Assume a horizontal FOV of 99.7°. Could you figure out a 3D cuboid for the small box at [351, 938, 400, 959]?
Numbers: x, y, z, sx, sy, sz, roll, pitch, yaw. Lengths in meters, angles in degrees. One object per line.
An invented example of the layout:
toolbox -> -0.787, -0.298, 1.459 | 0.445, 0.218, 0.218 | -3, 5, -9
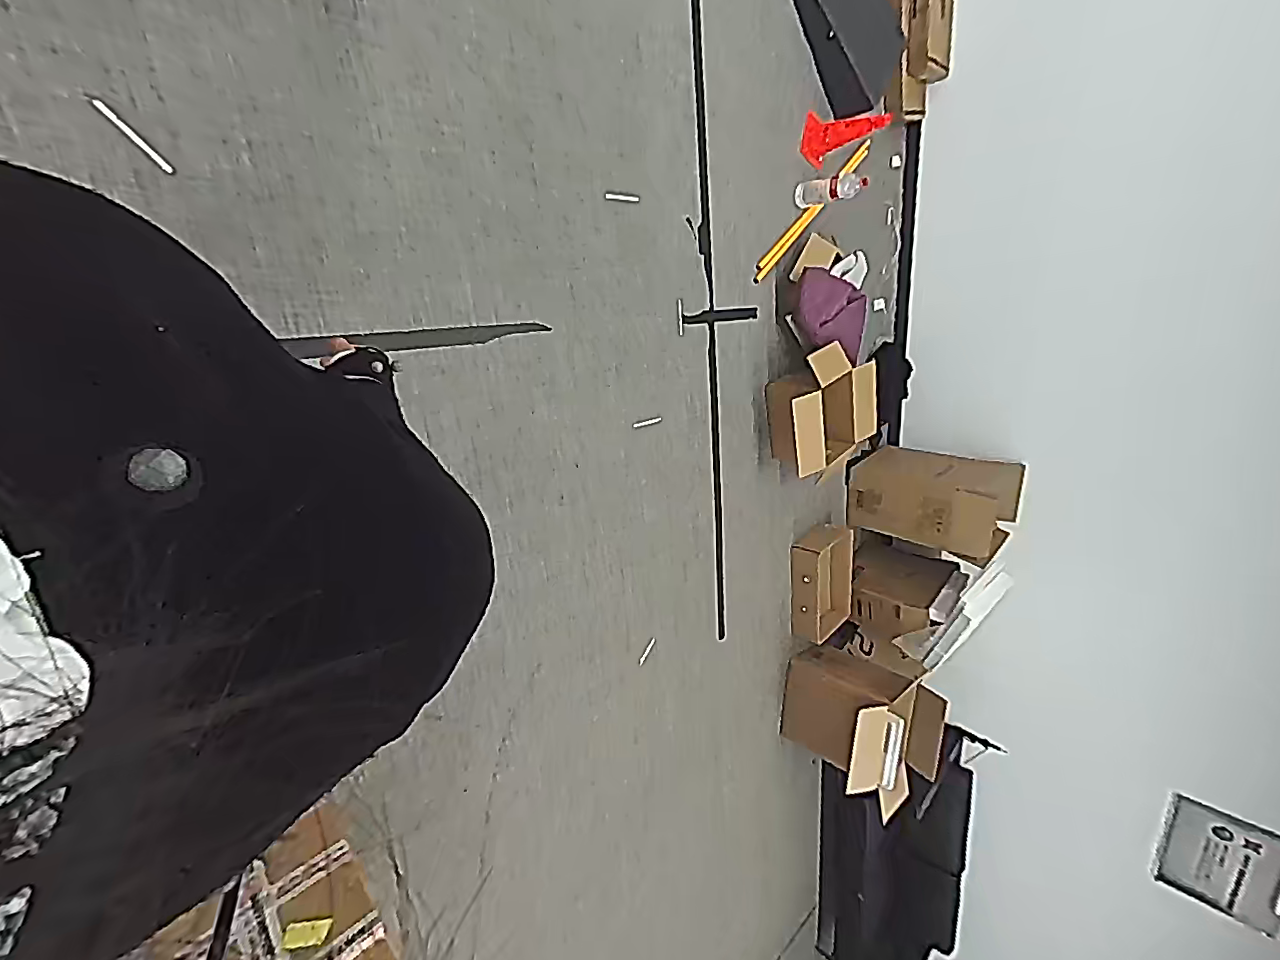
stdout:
small box -> -0.546, 1.103, 1.100 | 0.168, 0.176, 0.179 | -27, 113, -40
